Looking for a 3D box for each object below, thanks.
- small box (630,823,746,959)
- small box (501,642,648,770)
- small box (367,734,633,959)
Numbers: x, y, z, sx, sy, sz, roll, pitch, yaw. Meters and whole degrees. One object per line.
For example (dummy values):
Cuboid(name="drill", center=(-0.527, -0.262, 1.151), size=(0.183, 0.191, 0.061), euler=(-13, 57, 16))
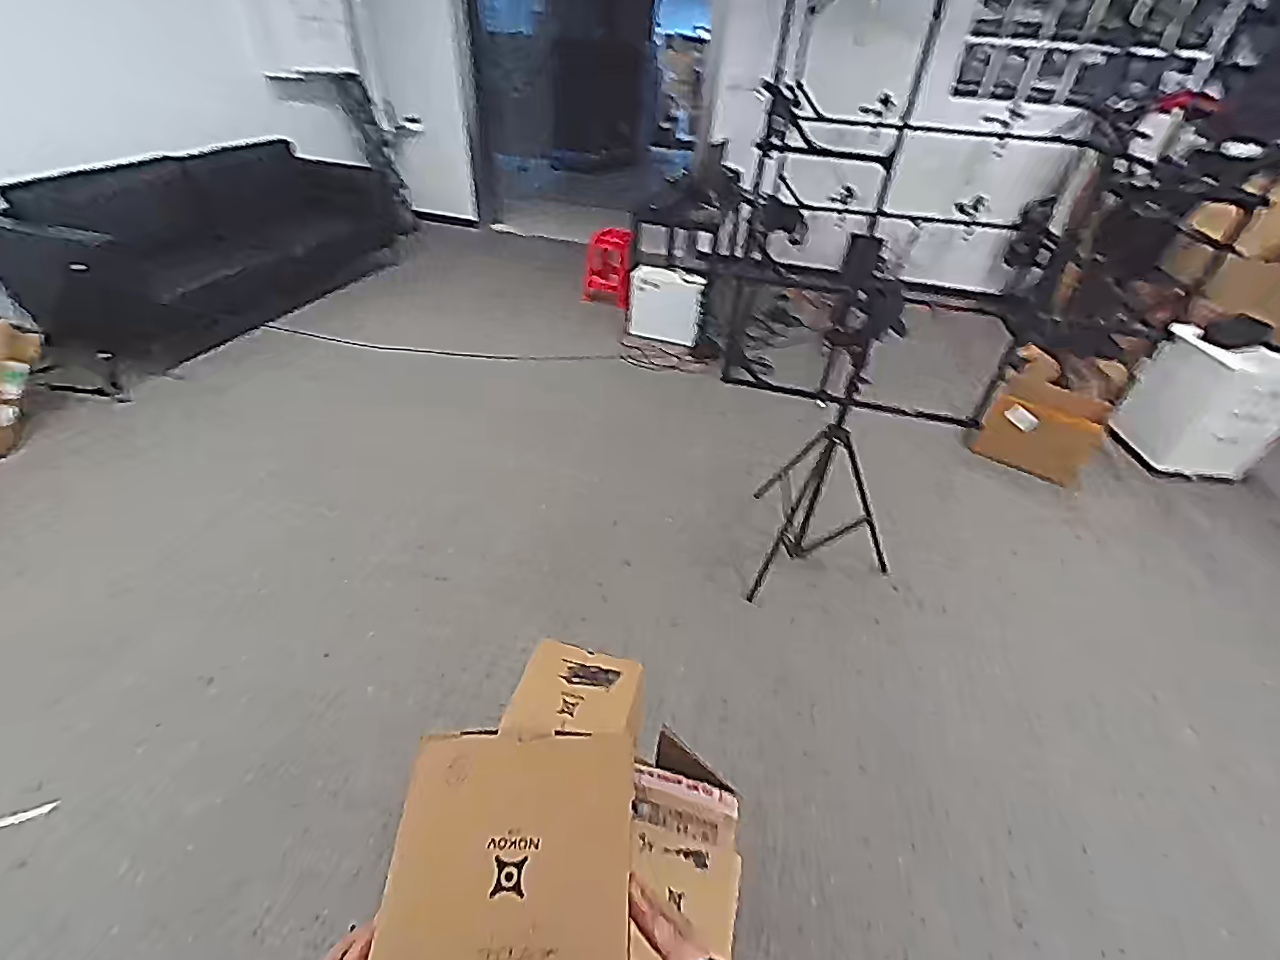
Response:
Cuboid(name="small box", center=(0.043, 0.629, 0.759), size=(0.168, 0.176, 0.179), euler=(13, 41, 10))
Cuboid(name="small box", center=(-0.091, 0.376, 0.798), size=(0.168, 0.176, 0.179), euler=(11, 41, 11))
Cuboid(name="small box", center=(-0.090, 0.314, 0.427), size=(0.168, 0.176, 0.179), euler=(0, 53, -1))
